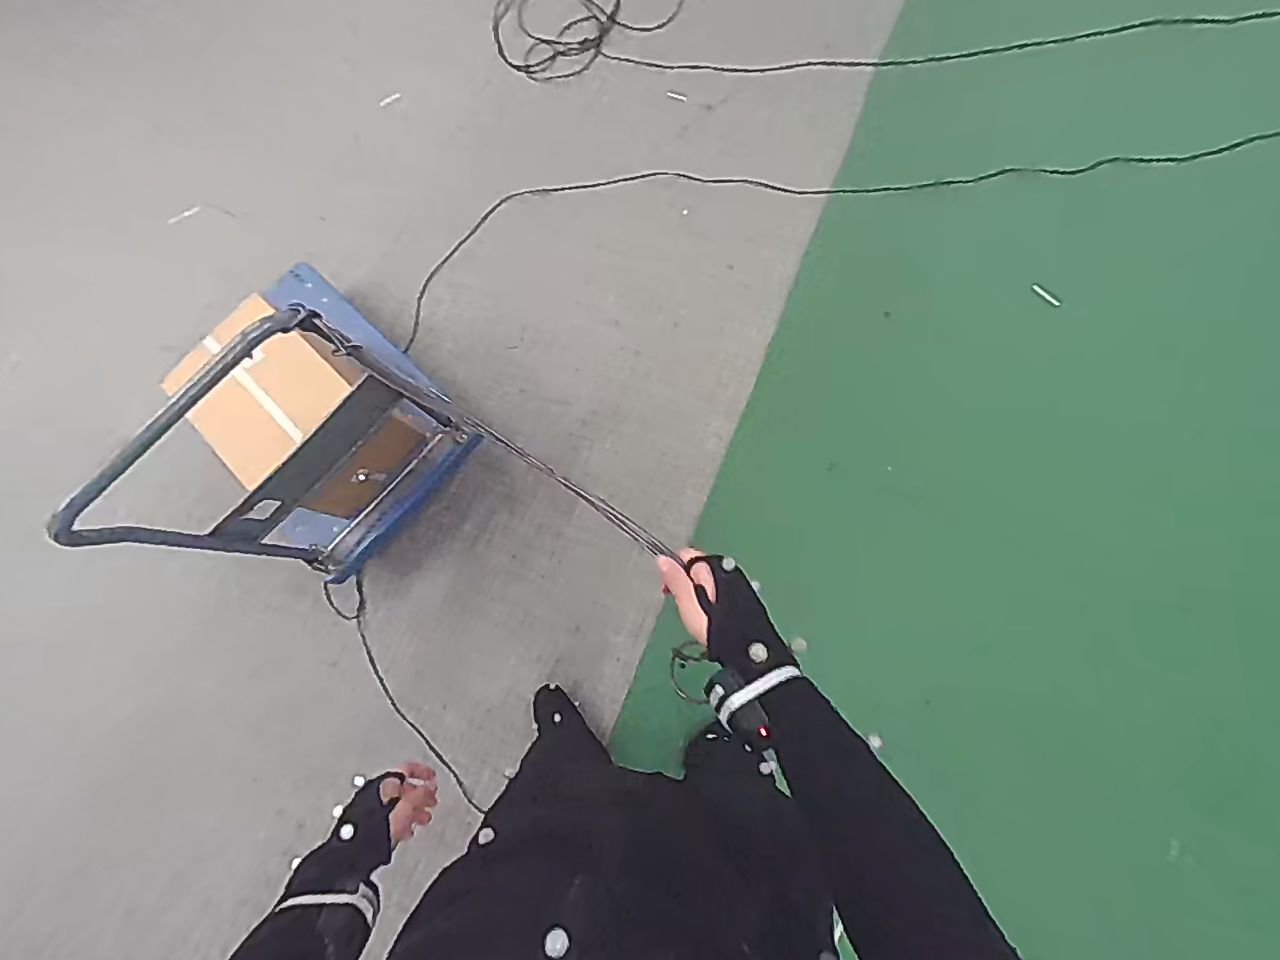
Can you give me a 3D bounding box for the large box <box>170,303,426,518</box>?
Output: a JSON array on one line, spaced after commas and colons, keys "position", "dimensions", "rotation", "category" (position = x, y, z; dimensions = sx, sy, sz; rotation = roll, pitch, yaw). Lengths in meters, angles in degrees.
[{"position": [-0.843, -0.160, 1.376], "dimensions": [0.408, 0.320, 0.320], "rotation": [40, 84, 16], "category": "large box"}]
